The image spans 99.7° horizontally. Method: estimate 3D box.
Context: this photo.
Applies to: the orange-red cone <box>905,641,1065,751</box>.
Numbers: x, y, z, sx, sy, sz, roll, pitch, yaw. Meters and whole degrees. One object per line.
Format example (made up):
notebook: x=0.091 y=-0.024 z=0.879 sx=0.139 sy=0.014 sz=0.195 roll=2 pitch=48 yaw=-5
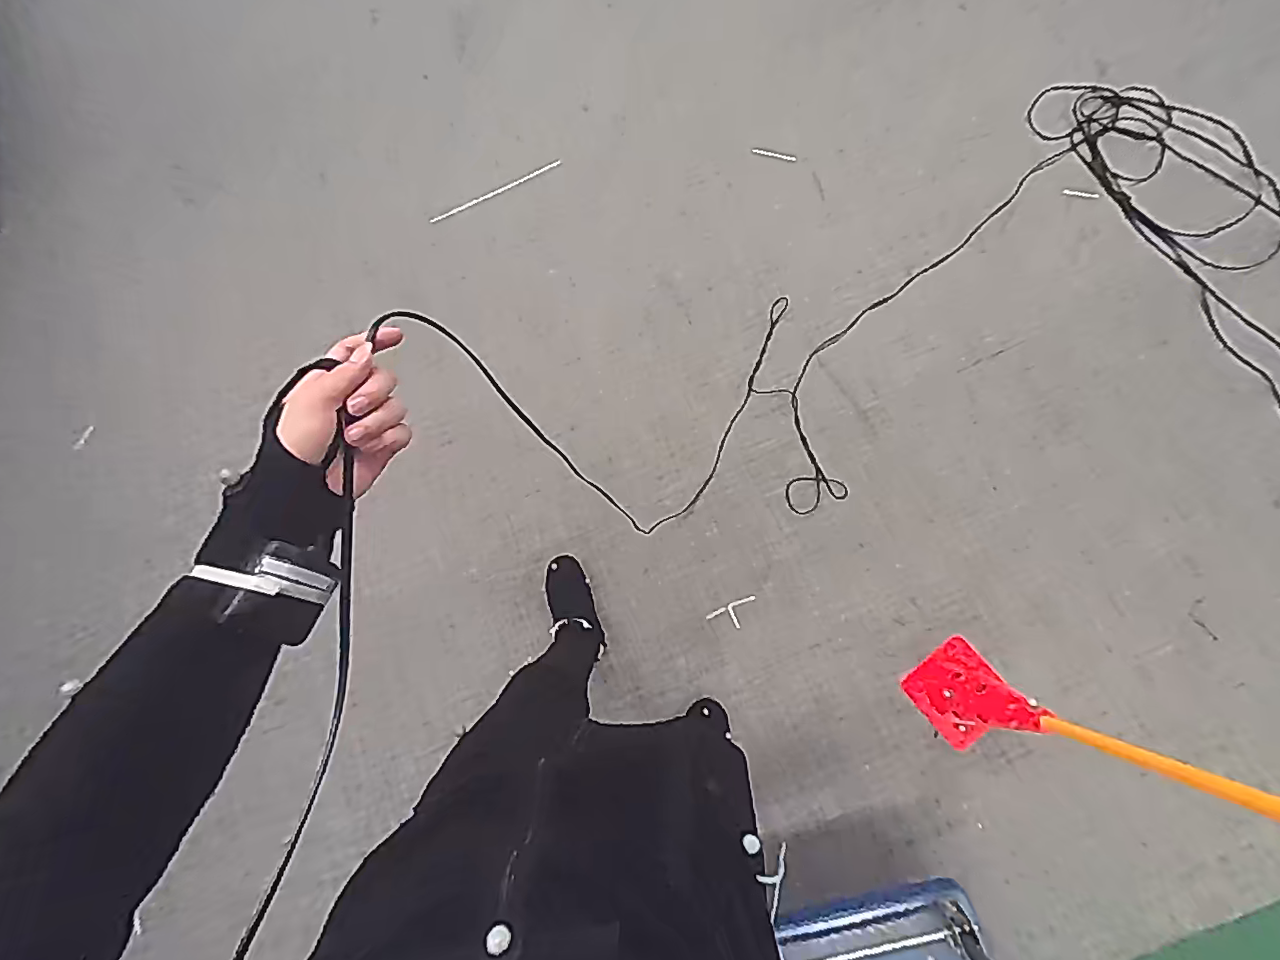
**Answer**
orange-red cone: x=0.750 y=0.474 z=1.127 sx=0.199 sy=0.360 sz=0.198 roll=-37 pitch=77 yaw=-4
